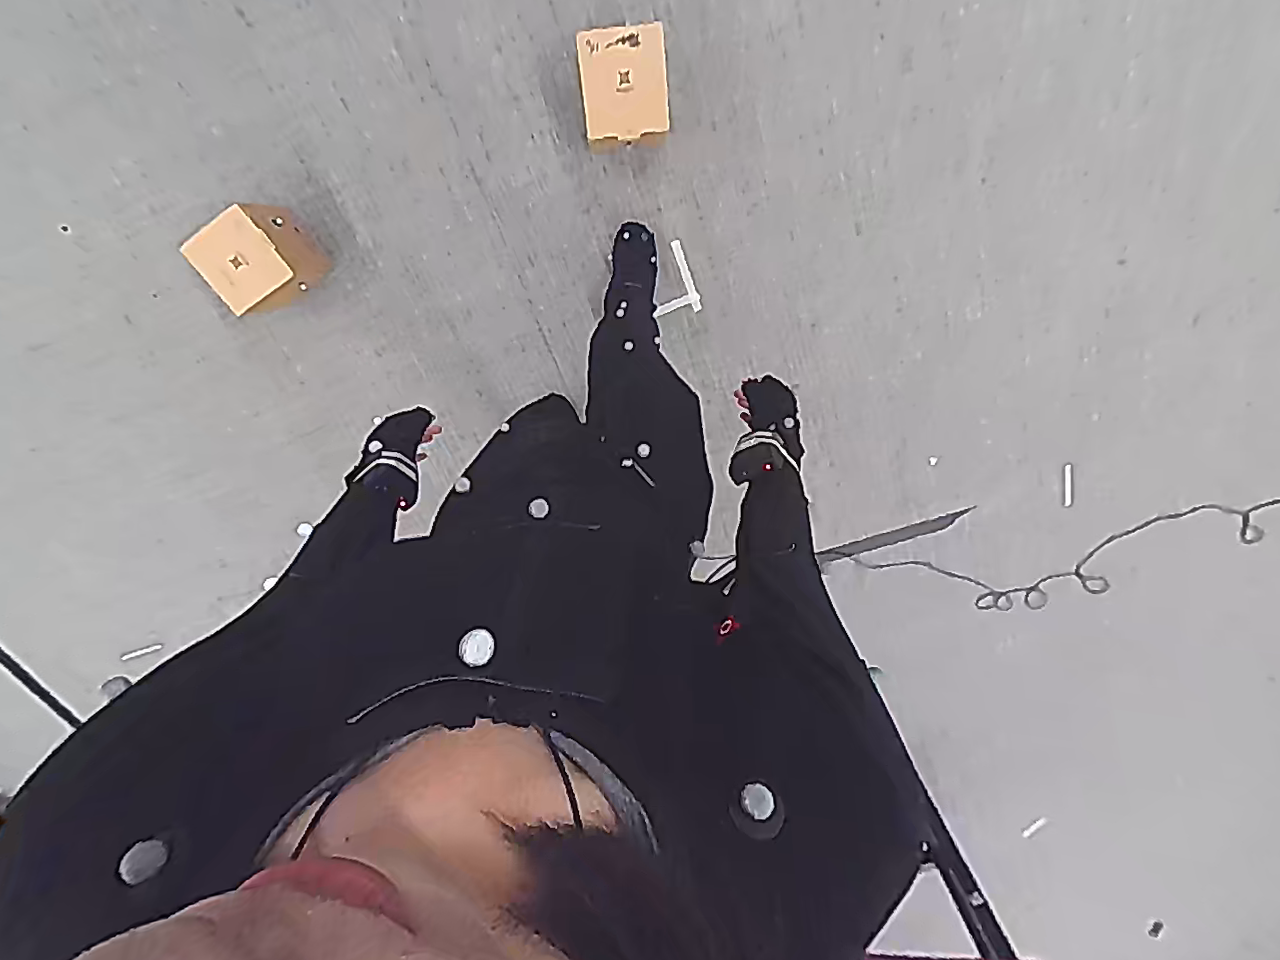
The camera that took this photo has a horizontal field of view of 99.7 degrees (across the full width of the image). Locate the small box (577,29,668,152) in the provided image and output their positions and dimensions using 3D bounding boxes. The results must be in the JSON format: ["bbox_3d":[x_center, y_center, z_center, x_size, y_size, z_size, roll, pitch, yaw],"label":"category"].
[{"bbox_3d":[-0.032,-0.782,1.106,0.168,0.176,0.179,-5,115,0],"label":"small box"}]

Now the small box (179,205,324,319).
[{"bbox_3d":[-0.850,-0.487,1.211,0.179,0.176,0.168,-29,110,12],"label":"small box"}]
